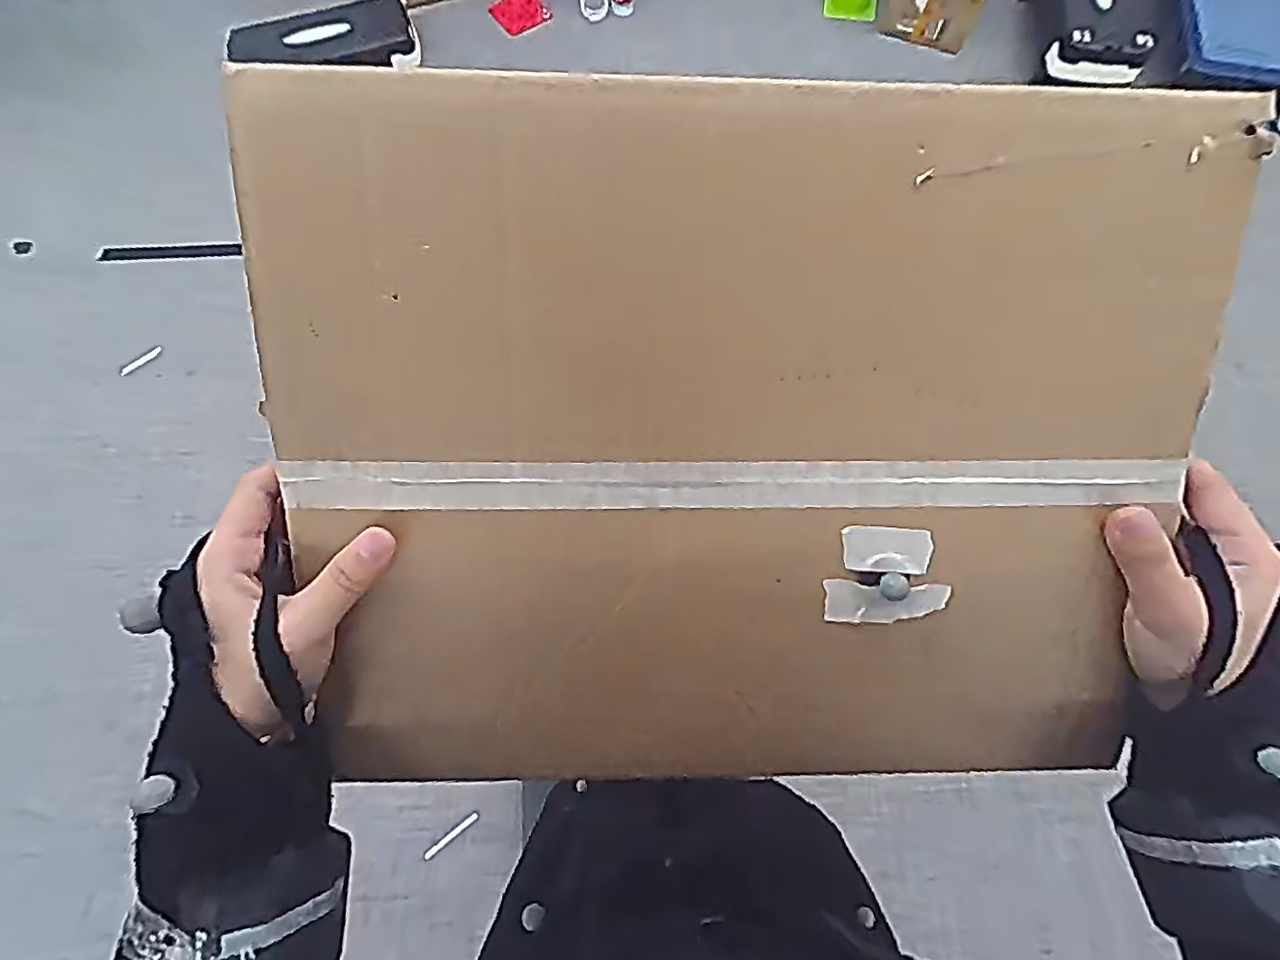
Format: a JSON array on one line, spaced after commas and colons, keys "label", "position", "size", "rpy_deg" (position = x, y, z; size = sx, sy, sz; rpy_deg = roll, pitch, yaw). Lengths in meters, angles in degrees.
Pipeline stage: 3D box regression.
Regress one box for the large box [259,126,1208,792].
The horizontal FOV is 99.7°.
[{"label": "large box", "position": [0.039, -0.026, 0.399], "size": [0.408, 0.320, 0.320], "rpy_deg": [-1, 104, -3]}]
